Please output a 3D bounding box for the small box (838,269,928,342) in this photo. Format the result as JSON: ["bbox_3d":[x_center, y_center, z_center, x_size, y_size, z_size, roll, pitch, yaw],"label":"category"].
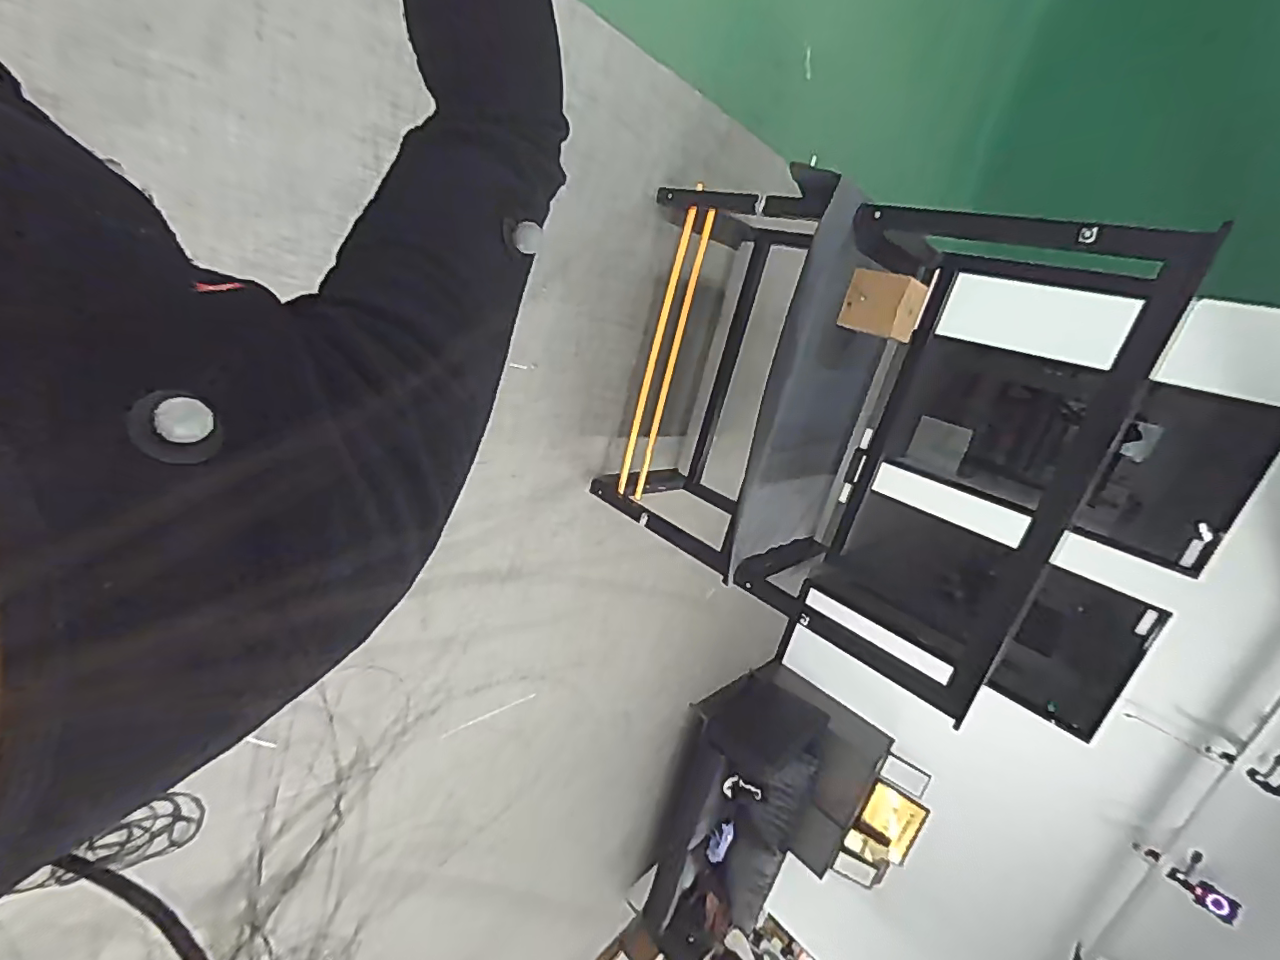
[{"bbox_3d":[0.723,-0.522,1.615,0.179,0.176,0.168,-7,118,-47],"label":"small box"}]
